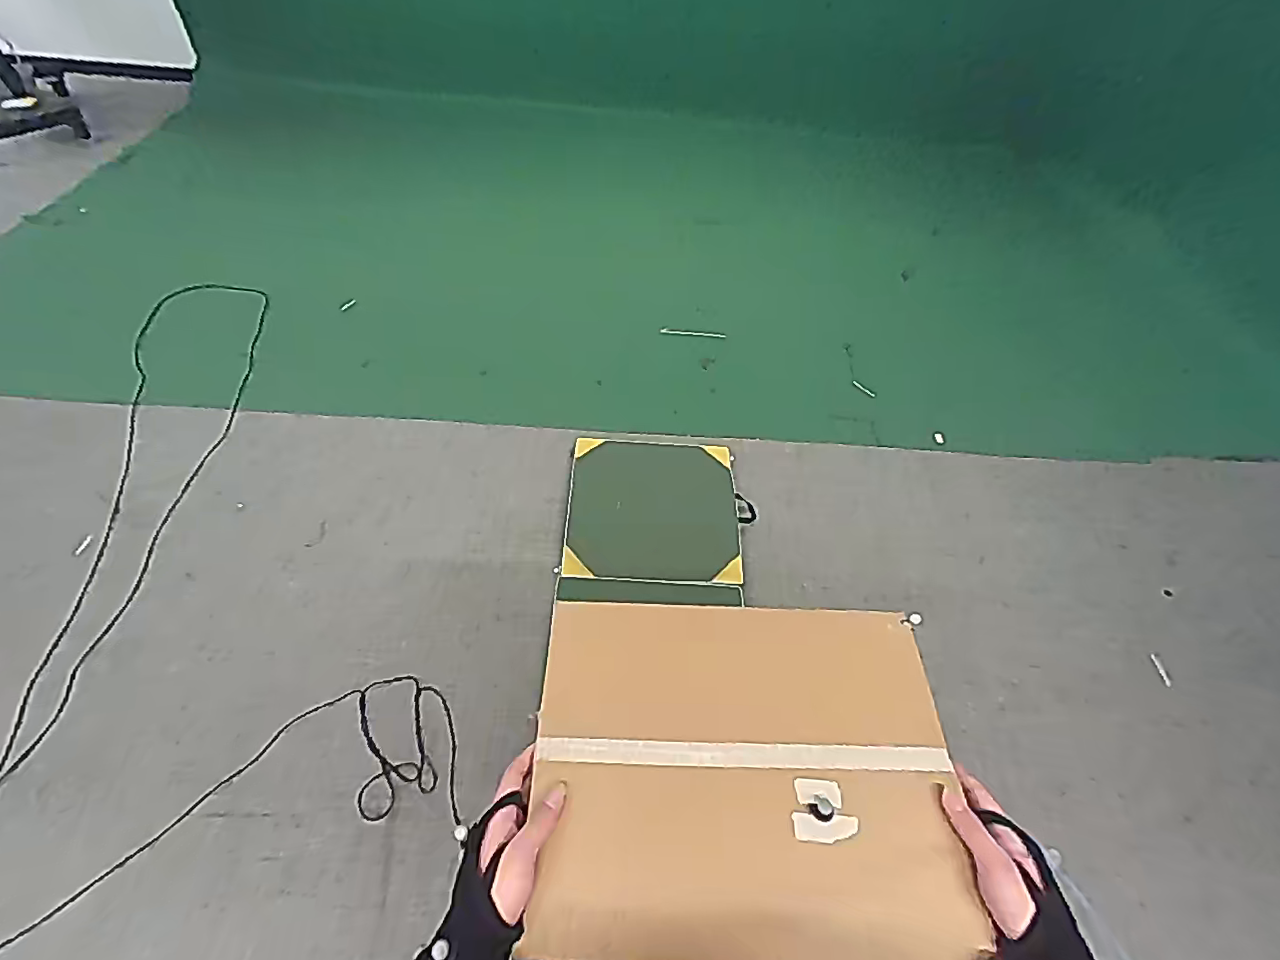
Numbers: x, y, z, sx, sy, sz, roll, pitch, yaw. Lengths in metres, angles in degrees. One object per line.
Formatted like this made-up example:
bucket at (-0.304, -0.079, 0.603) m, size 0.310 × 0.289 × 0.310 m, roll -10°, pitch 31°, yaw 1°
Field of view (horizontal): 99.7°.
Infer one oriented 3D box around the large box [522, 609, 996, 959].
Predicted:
large box at (0.096, 0.369, 0.652) m, size 0.408 × 0.320 × 0.320 m, roll 2°, pitch 51°, yaw 0°
